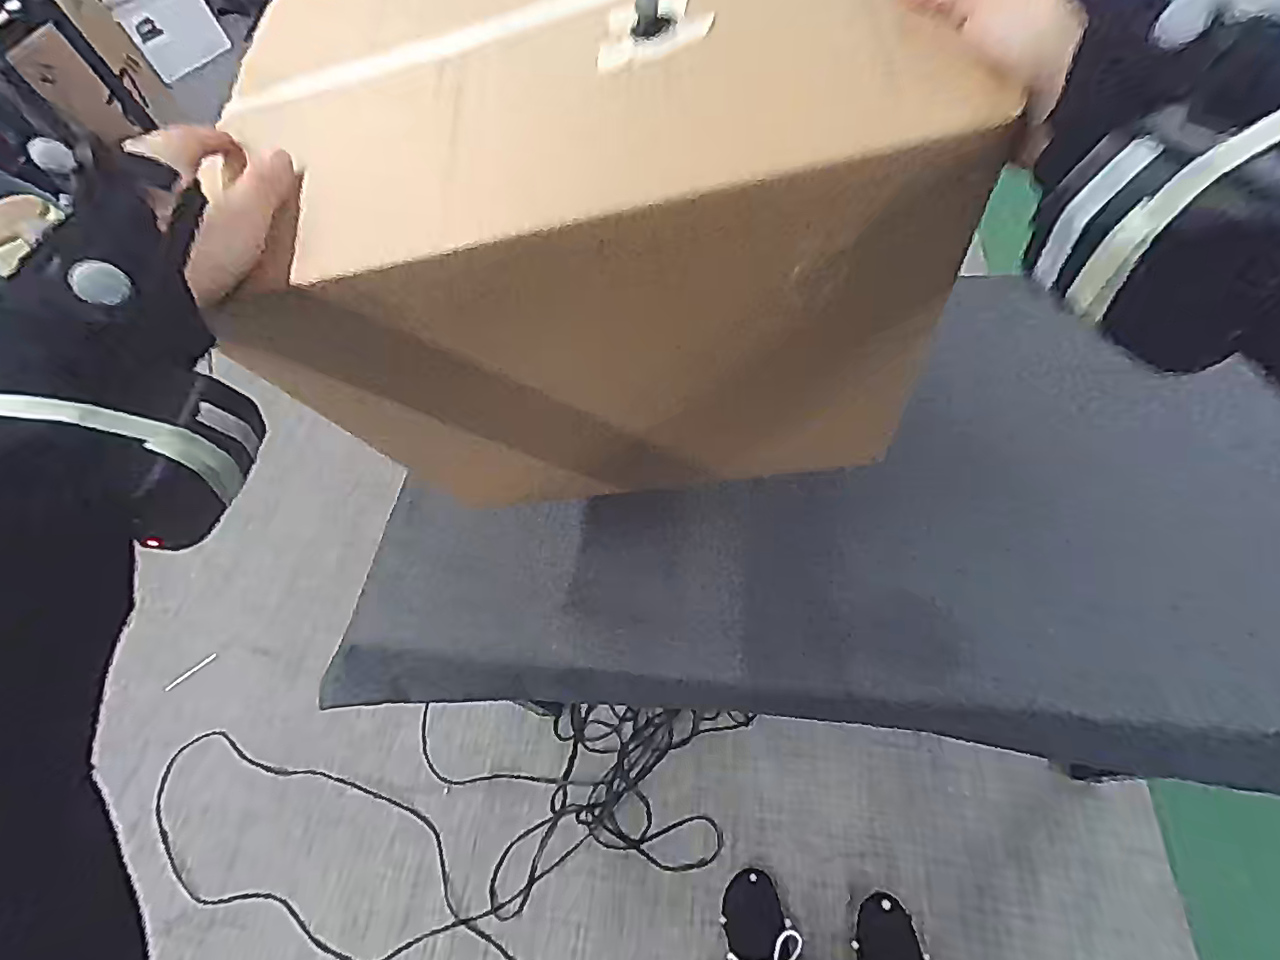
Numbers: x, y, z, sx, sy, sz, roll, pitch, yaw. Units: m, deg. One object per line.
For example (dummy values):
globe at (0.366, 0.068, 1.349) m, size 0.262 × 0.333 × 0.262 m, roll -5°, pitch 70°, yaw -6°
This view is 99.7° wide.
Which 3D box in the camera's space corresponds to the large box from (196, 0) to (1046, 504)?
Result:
large box at (-0.011, -0.194, 0.435) m, size 0.408 × 0.320 × 0.320 m, roll -7°, pitch 67°, yaw 11°
